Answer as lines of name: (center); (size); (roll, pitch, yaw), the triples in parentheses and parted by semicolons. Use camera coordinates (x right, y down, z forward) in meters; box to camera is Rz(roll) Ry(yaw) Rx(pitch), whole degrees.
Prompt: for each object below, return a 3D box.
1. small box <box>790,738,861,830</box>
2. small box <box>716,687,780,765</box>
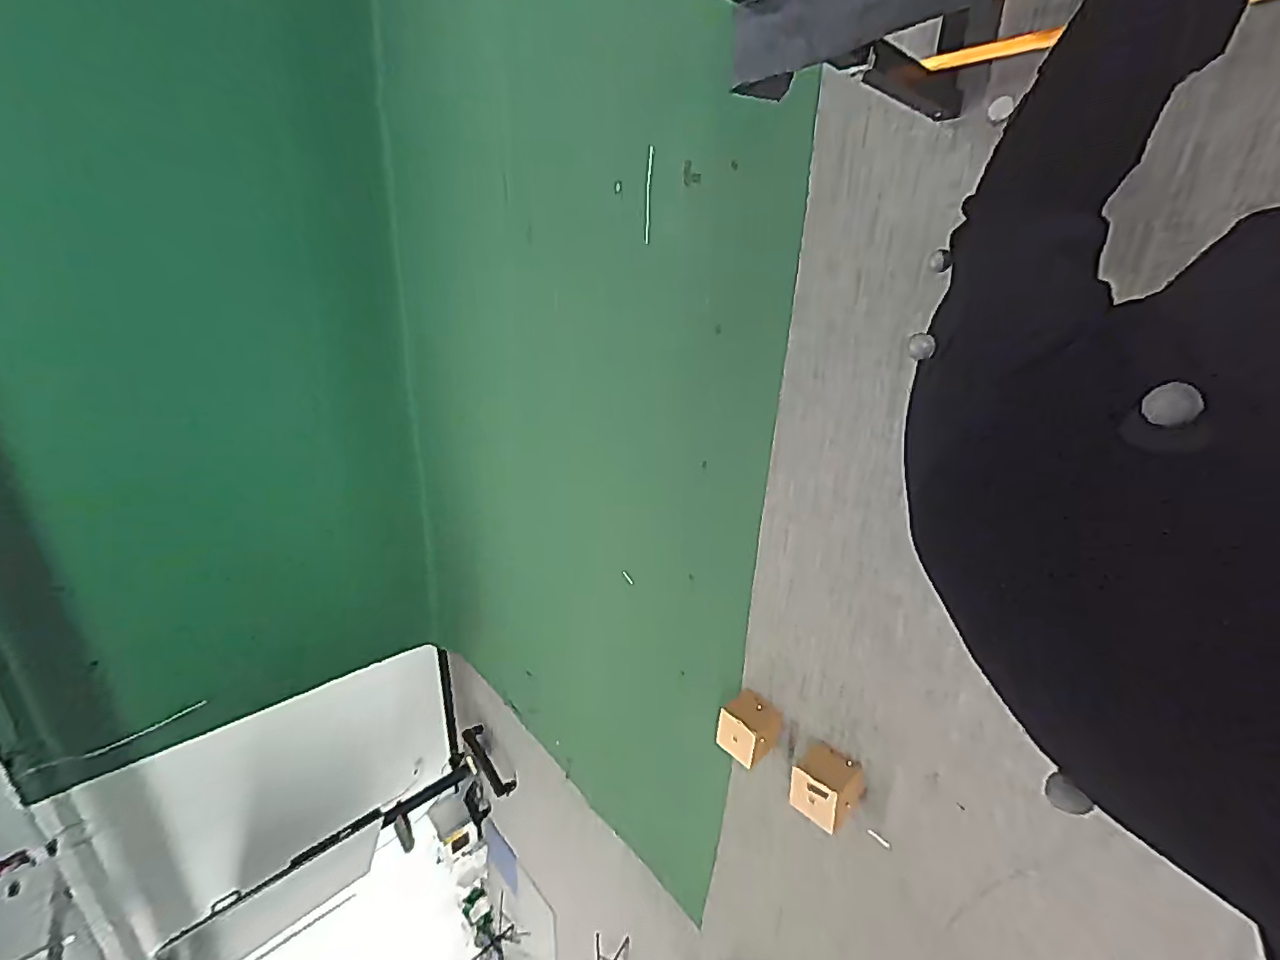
small box: (0.632, 1.024, 1.838); (0.168, 0.176, 0.179); (18, 116, 45)
small box: (0.414, 0.930, 2.058); (0.168, 0.176, 0.179); (24, 119, 42)
